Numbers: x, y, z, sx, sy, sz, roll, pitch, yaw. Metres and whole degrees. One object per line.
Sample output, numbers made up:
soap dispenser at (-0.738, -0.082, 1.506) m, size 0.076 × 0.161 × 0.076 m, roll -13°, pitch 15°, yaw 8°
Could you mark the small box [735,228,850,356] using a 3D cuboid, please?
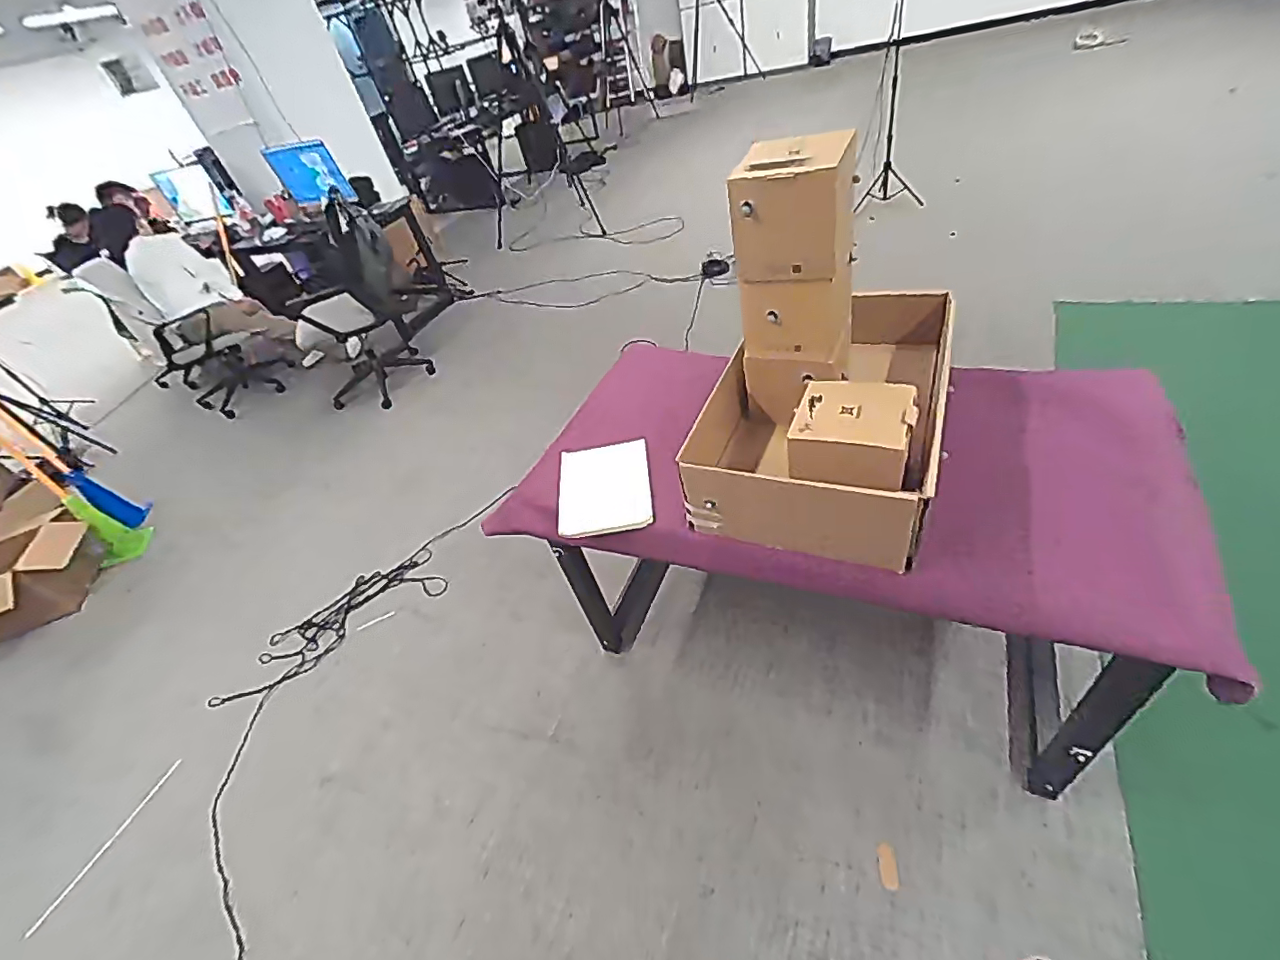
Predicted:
small box at (0.293, -0.352, 1.022) m, size 0.168 × 0.176 × 0.179 m, roll 11°, pitch 50°, yaw 27°
